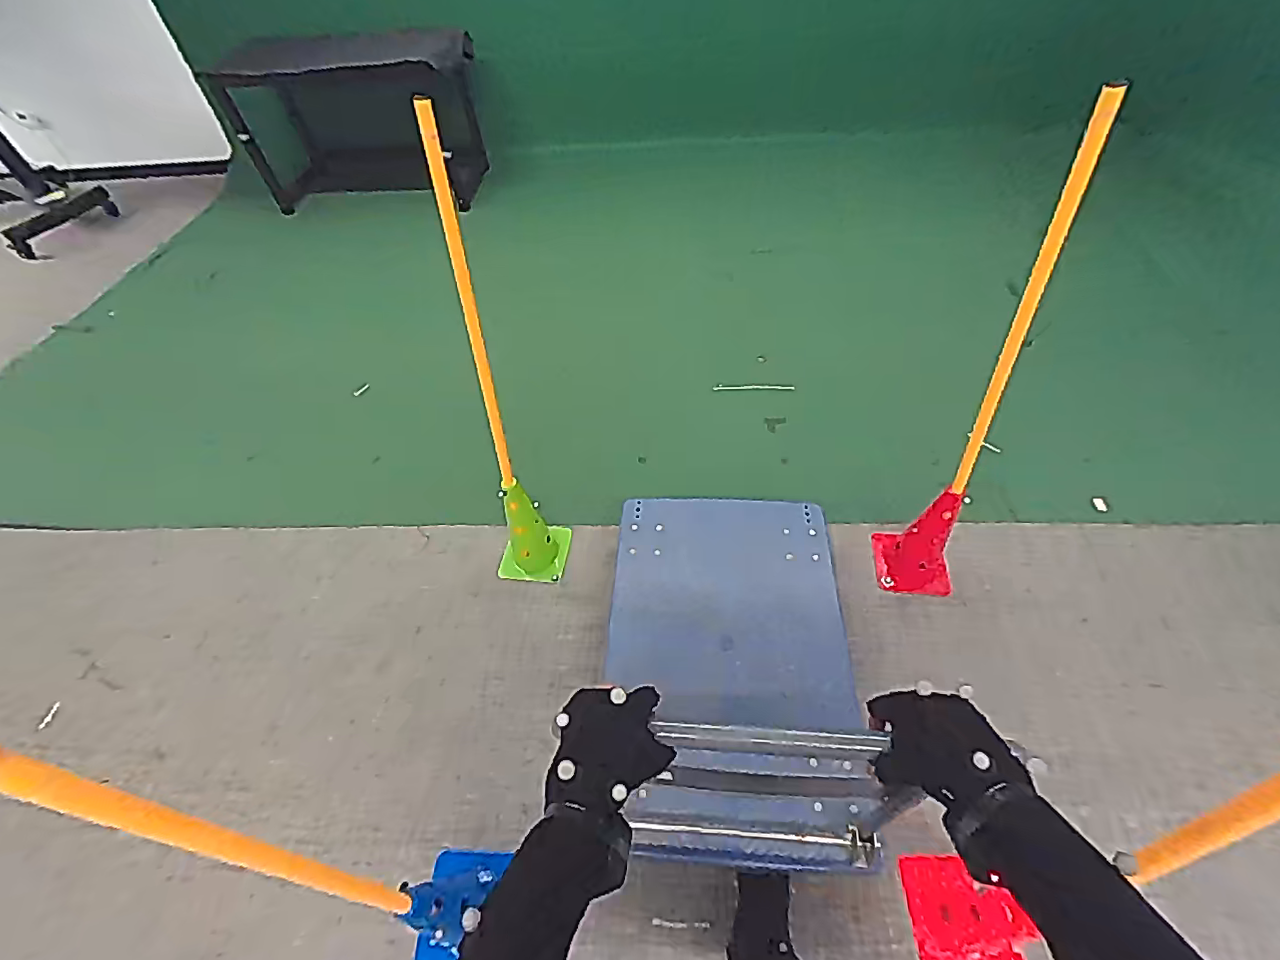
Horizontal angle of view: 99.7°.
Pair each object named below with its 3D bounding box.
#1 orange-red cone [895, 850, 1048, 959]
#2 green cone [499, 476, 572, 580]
[{"bbox_3d":[0.632,0.774,0.981,0.199,0.360,0.198,-2,50,5],"label":"orange-red cone"},{"bbox_3d":[-0.339,0.114,1.583,0.202,0.368,0.200,3,51,8],"label":"green cone"}]
